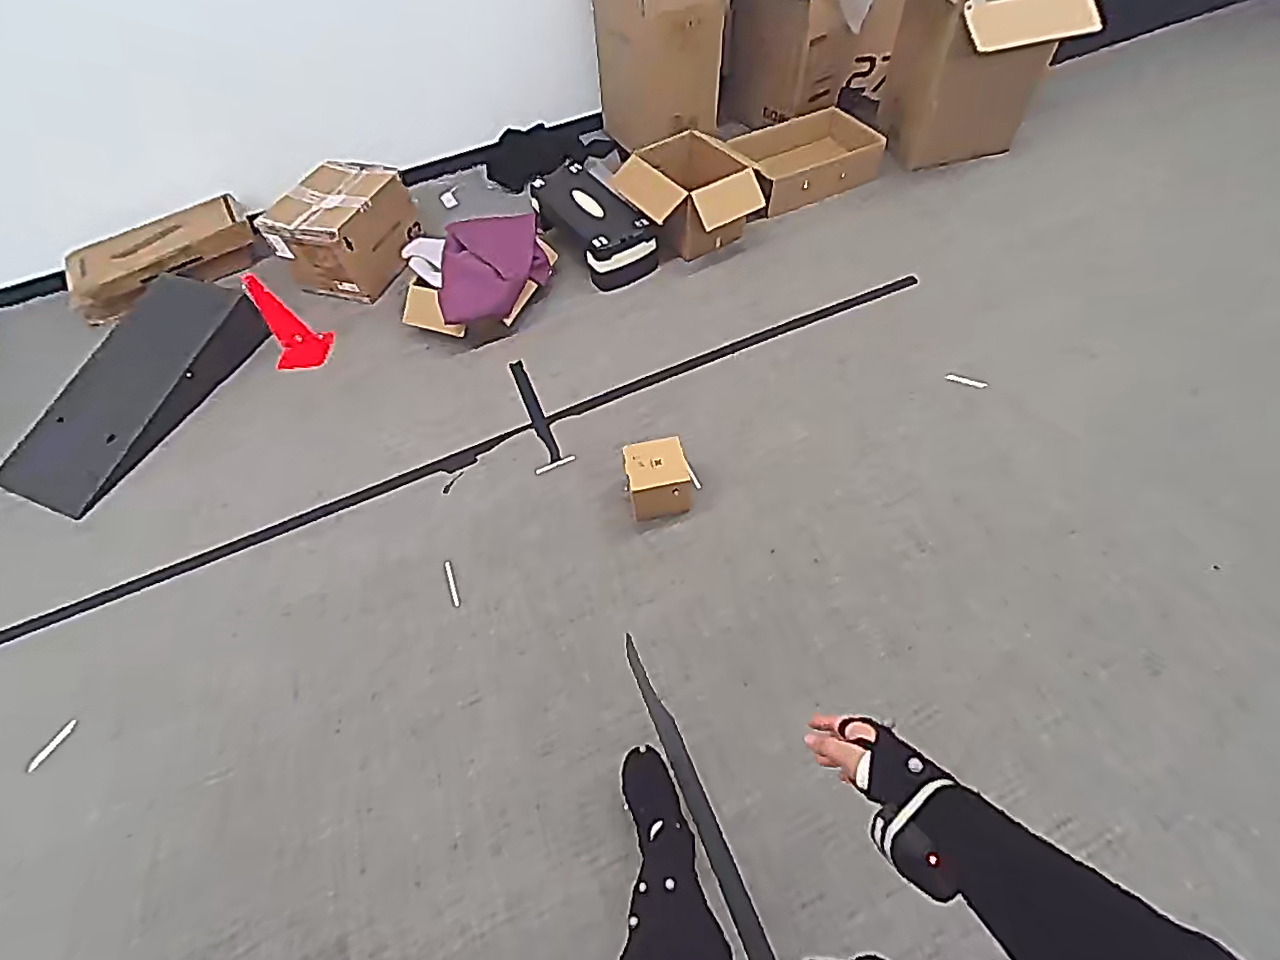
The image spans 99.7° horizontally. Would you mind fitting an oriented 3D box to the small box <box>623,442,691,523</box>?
[{"bbox_3d":[0.052,0.010,1.646,0.179,0.176,0.168,-11,56,-2],"label":"small box"}]
